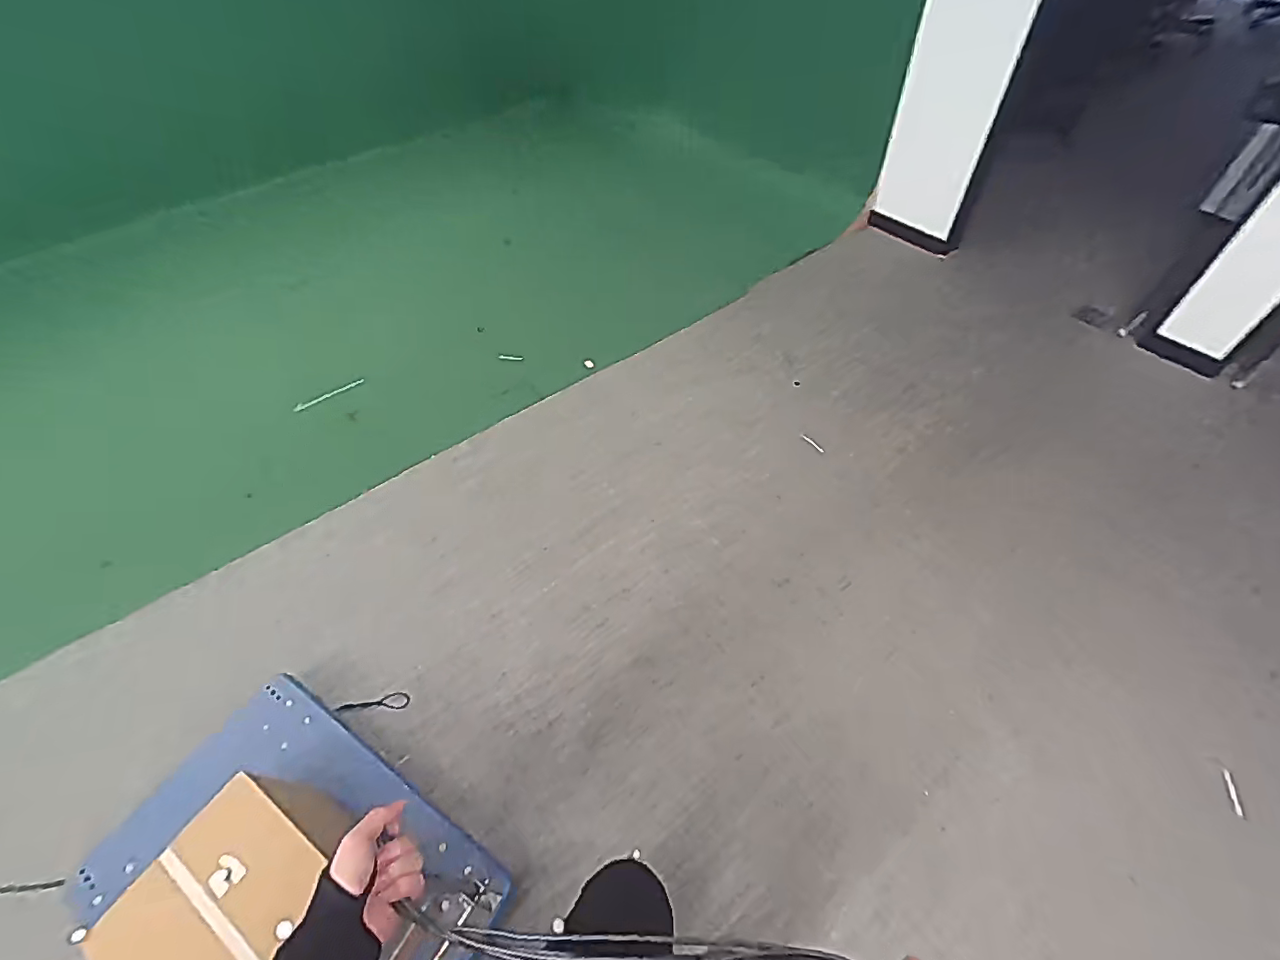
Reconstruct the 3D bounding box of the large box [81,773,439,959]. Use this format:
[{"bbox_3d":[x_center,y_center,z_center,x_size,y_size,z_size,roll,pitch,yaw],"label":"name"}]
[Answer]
[{"bbox_3d":[-0.671,0.834,1.013,0.408,0.320,0.320,25,58,23],"label":"large box"}]
